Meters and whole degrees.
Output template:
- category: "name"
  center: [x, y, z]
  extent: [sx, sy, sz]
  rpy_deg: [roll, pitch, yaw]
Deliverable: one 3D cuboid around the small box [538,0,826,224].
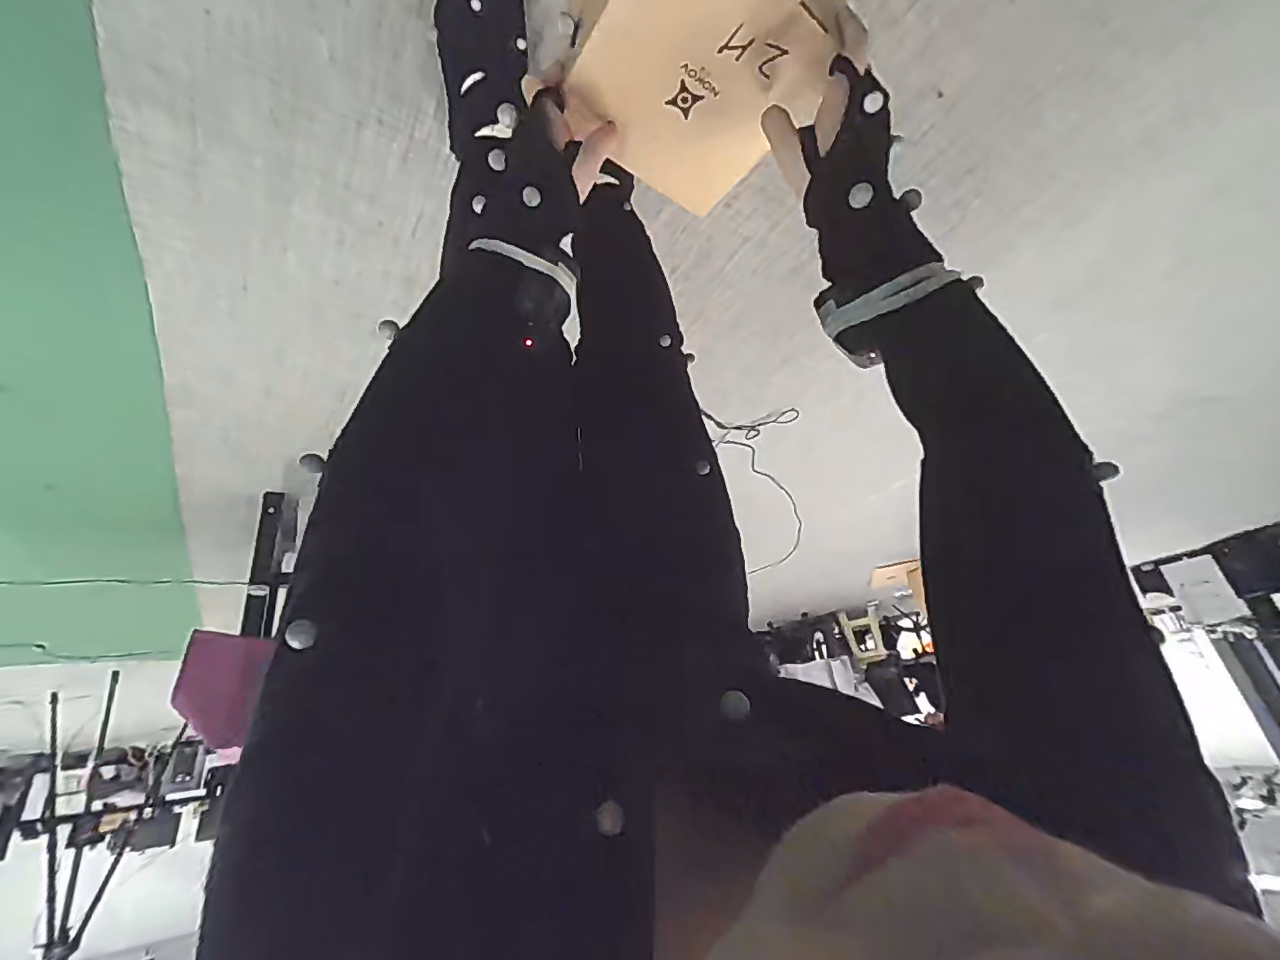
- category: "small box"
  center: [0.033, -0.372, 0.460]
  extent: [0.168, 0.176, 0.179]
  rpy_deg: [17, 153, -31]
